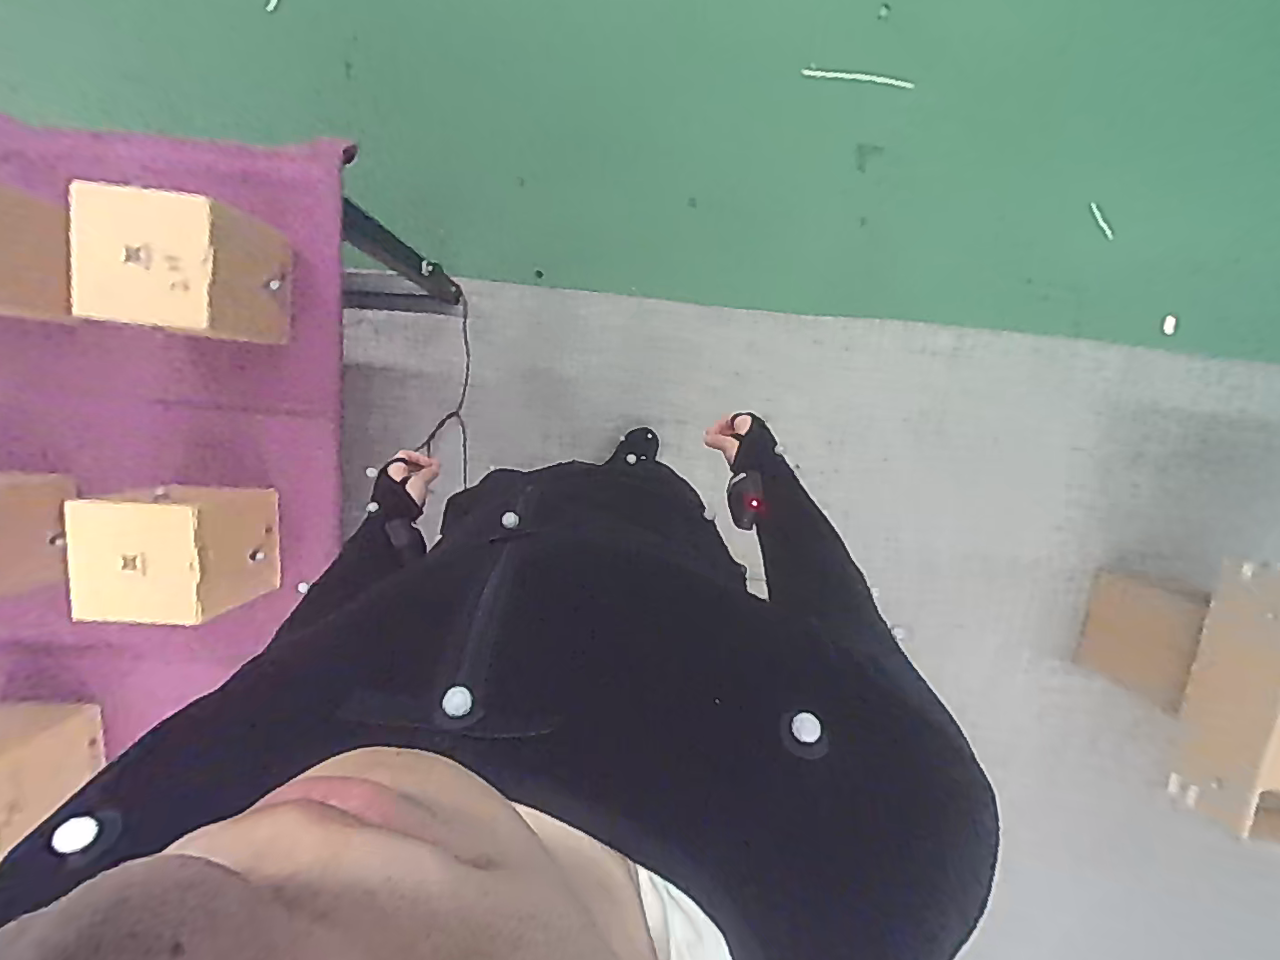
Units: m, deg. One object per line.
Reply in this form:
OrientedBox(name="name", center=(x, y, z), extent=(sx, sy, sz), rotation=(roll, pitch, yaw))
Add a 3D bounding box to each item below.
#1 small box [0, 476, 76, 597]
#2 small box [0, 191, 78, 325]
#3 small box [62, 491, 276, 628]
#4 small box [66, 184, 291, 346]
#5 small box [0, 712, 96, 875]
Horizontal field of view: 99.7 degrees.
OrientedBox(name="small box", center=(-0.999, 0.087, 0.793), extent=(0.179, 0.176, 0.168), rotation=(3, 97, -2))
OrientedBox(name="small box", center=(-0.949, -0.319, 0.752), extent=(0.179, 0.176, 0.168), rotation=(6, 96, -2))
OrientedBox(name="small box", center=(-0.682, 0.108, 0.801), extent=(0.179, 0.176, 0.168), rotation=(2, 96, -1))
OrientedBox(name="small box", center=(-0.633, -0.287, 0.758), extent=(0.179, 0.176, 0.168), rotation=(6, 97, -2))
OrientedBox(name="small box", center=(-0.995, 0.474, 0.830), extent=(0.179, 0.176, 0.168), rotation=(0, 95, -1))
